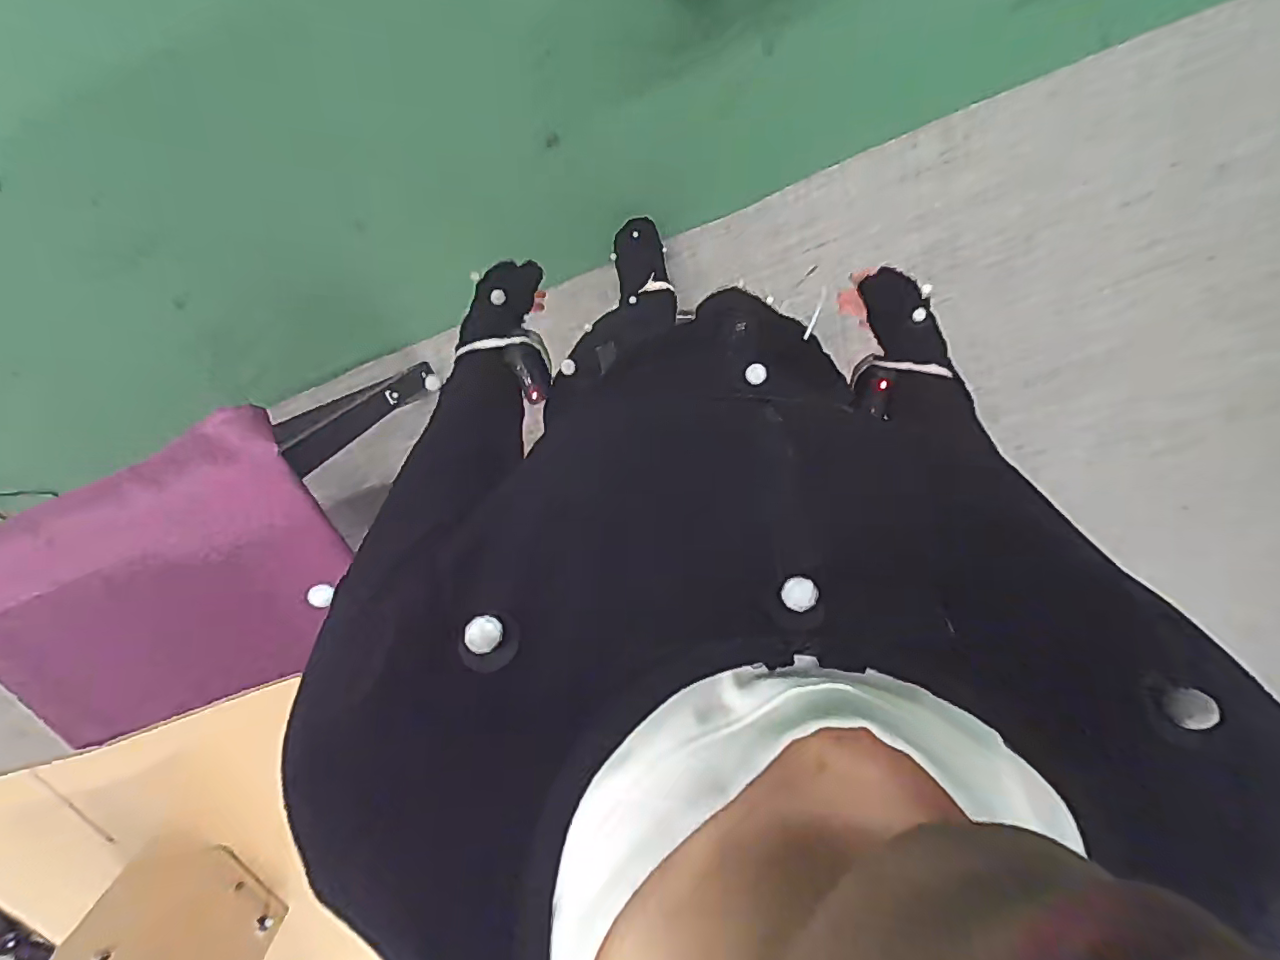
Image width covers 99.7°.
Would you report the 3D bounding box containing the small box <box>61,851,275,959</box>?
[{"bbox_3d":[-0.632,0.635,0.719,0.179,0.176,0.168,-20,114,7],"label":"small box"}]
